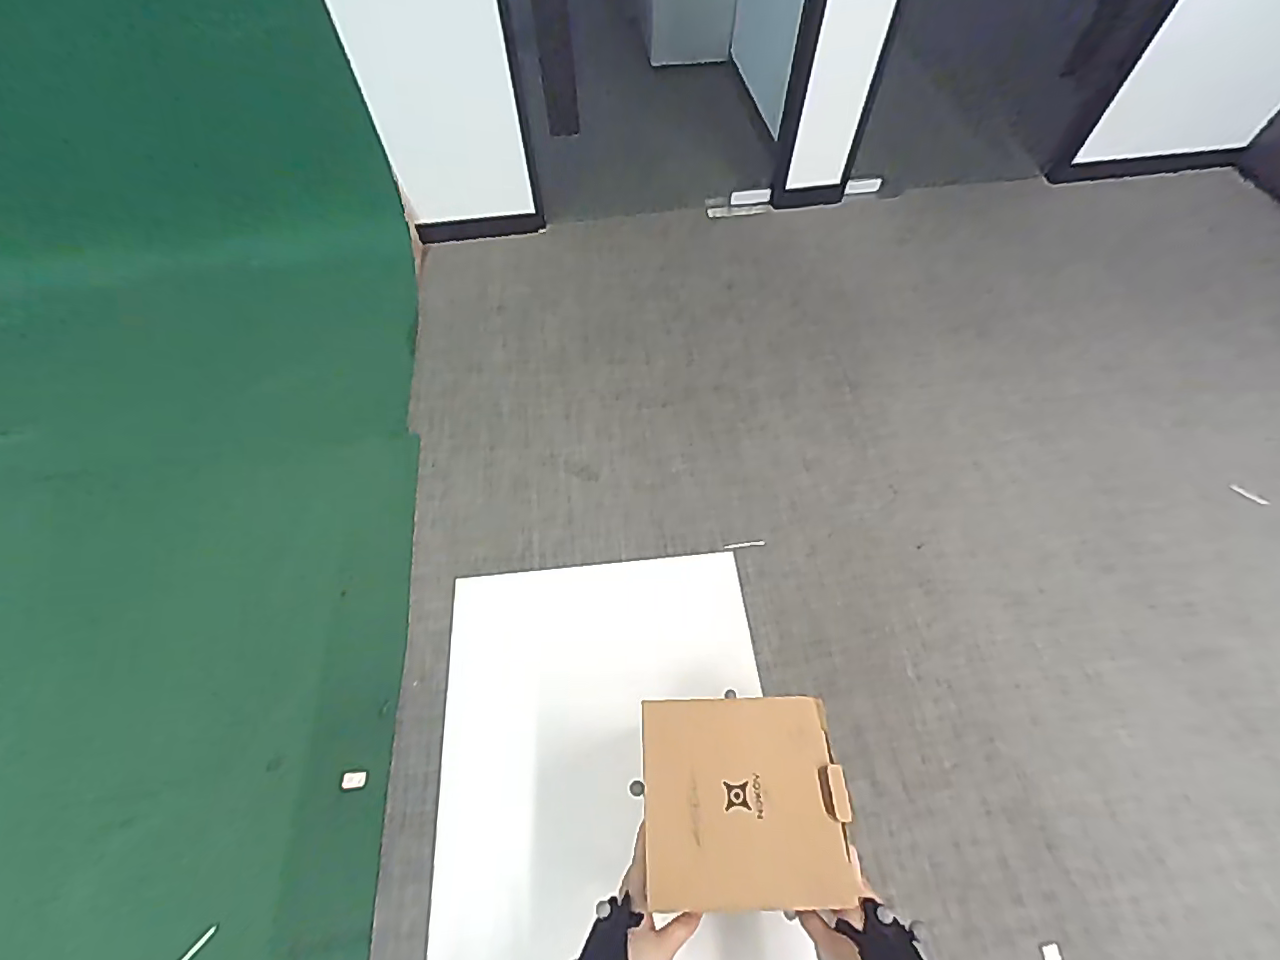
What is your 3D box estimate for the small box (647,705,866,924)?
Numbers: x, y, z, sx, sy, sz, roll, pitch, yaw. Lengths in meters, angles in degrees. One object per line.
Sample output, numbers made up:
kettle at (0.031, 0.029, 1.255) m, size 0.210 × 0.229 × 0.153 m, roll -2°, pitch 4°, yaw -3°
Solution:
small box at (0.097, 0.329, 0.544) m, size 0.179 × 0.176 × 0.168 m, roll -3°, pitch 56°, yaw 1°
